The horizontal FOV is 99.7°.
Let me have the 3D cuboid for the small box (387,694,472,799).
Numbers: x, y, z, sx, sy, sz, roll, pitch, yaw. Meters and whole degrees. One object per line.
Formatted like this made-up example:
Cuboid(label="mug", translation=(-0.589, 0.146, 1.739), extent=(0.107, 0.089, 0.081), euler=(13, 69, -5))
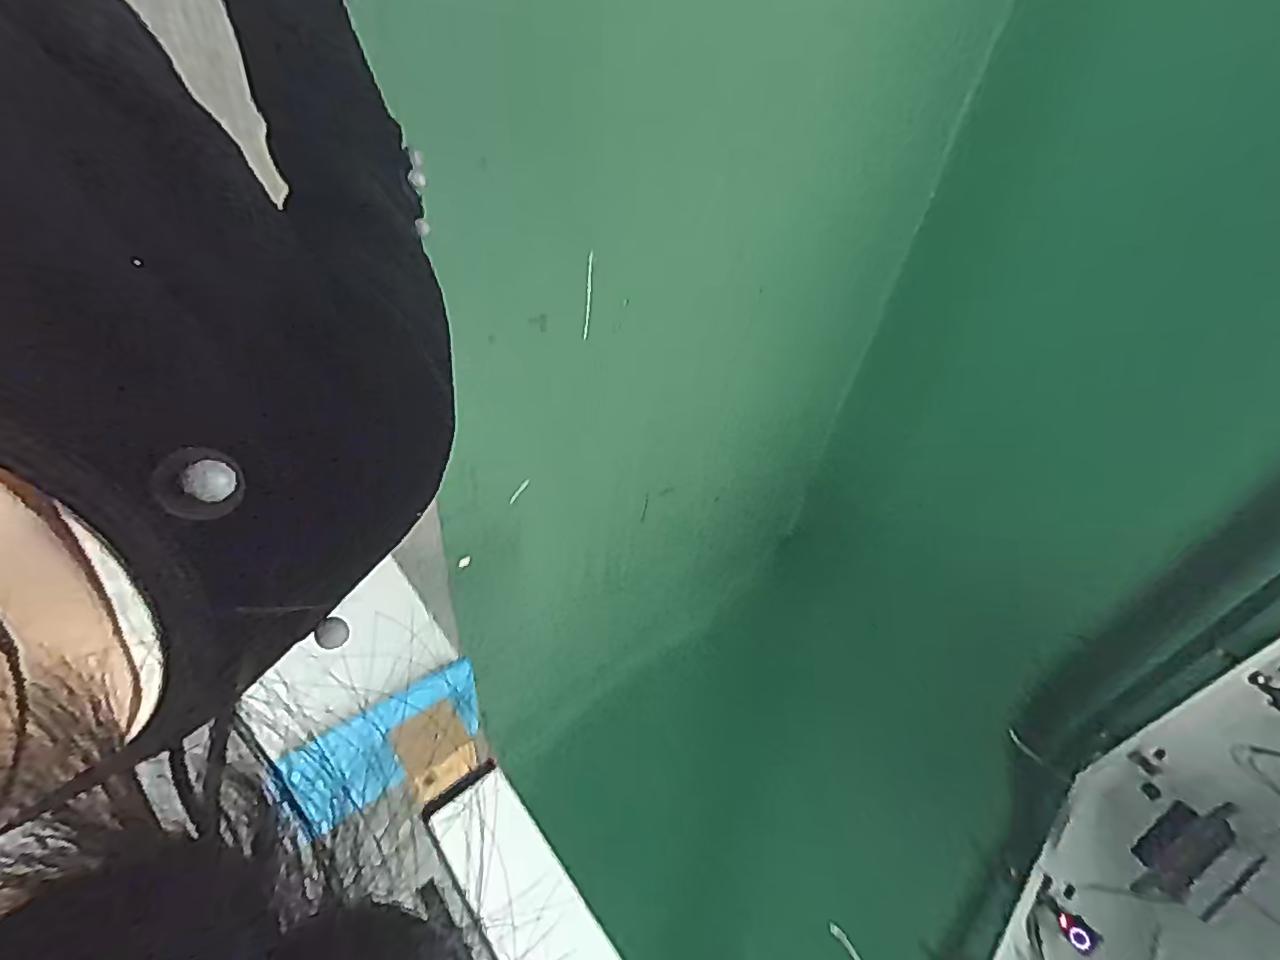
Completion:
Cuboid(label="small box", translation=(-0.608, 0.759, 1.553), extent=(0.179, 0.176, 0.168), euler=(-26, 142, -36))
